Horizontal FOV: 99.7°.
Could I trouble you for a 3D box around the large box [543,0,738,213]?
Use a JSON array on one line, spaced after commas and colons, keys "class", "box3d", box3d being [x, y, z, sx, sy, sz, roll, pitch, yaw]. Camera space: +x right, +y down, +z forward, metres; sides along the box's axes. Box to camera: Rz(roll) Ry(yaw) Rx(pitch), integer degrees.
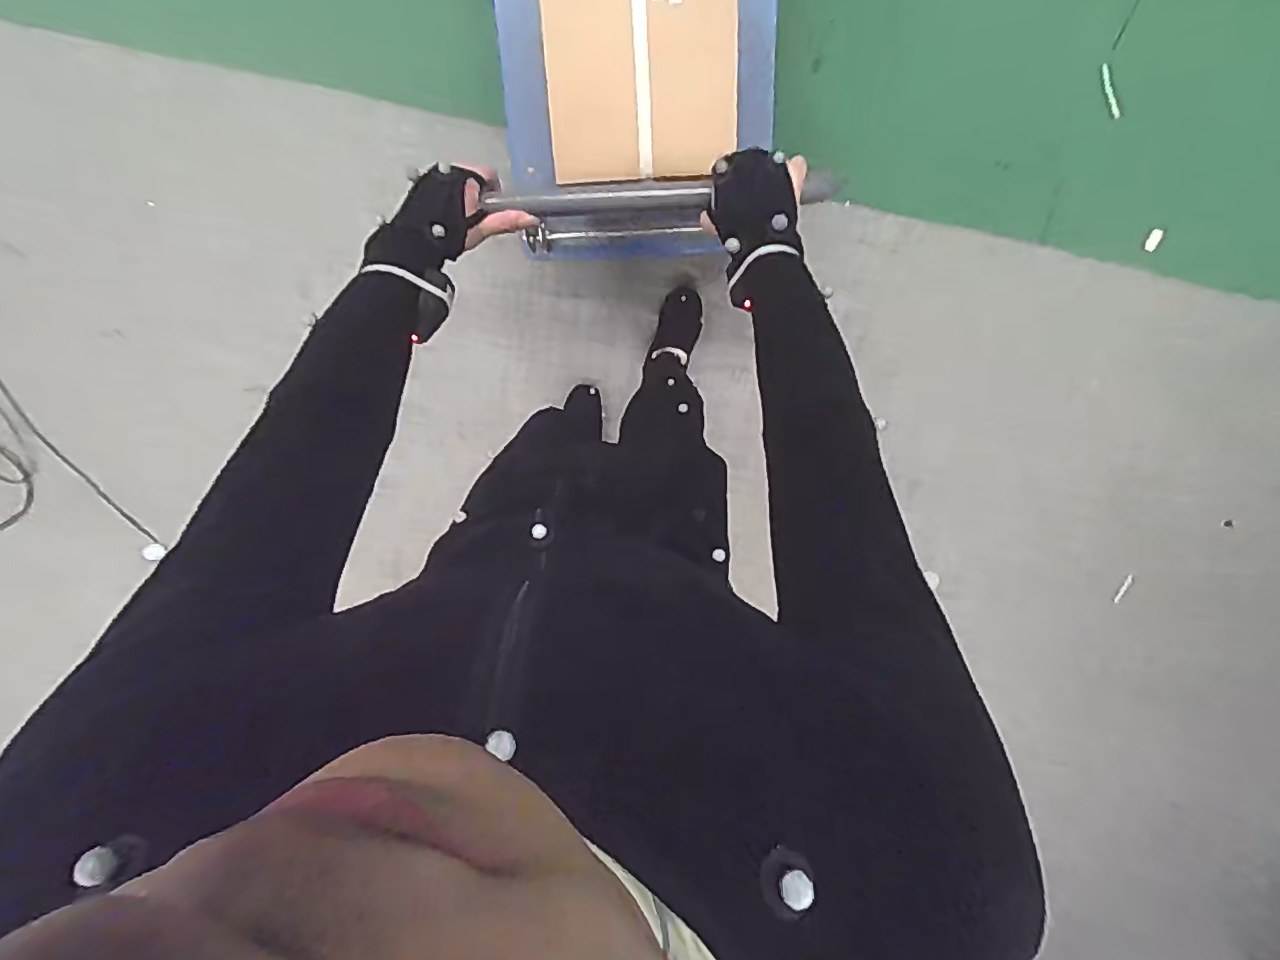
[{"class": "large box", "box3d": [0.011, -0.756, 1.020, 0.320, 0.320, 0.408, -2, 109, 3]}]
